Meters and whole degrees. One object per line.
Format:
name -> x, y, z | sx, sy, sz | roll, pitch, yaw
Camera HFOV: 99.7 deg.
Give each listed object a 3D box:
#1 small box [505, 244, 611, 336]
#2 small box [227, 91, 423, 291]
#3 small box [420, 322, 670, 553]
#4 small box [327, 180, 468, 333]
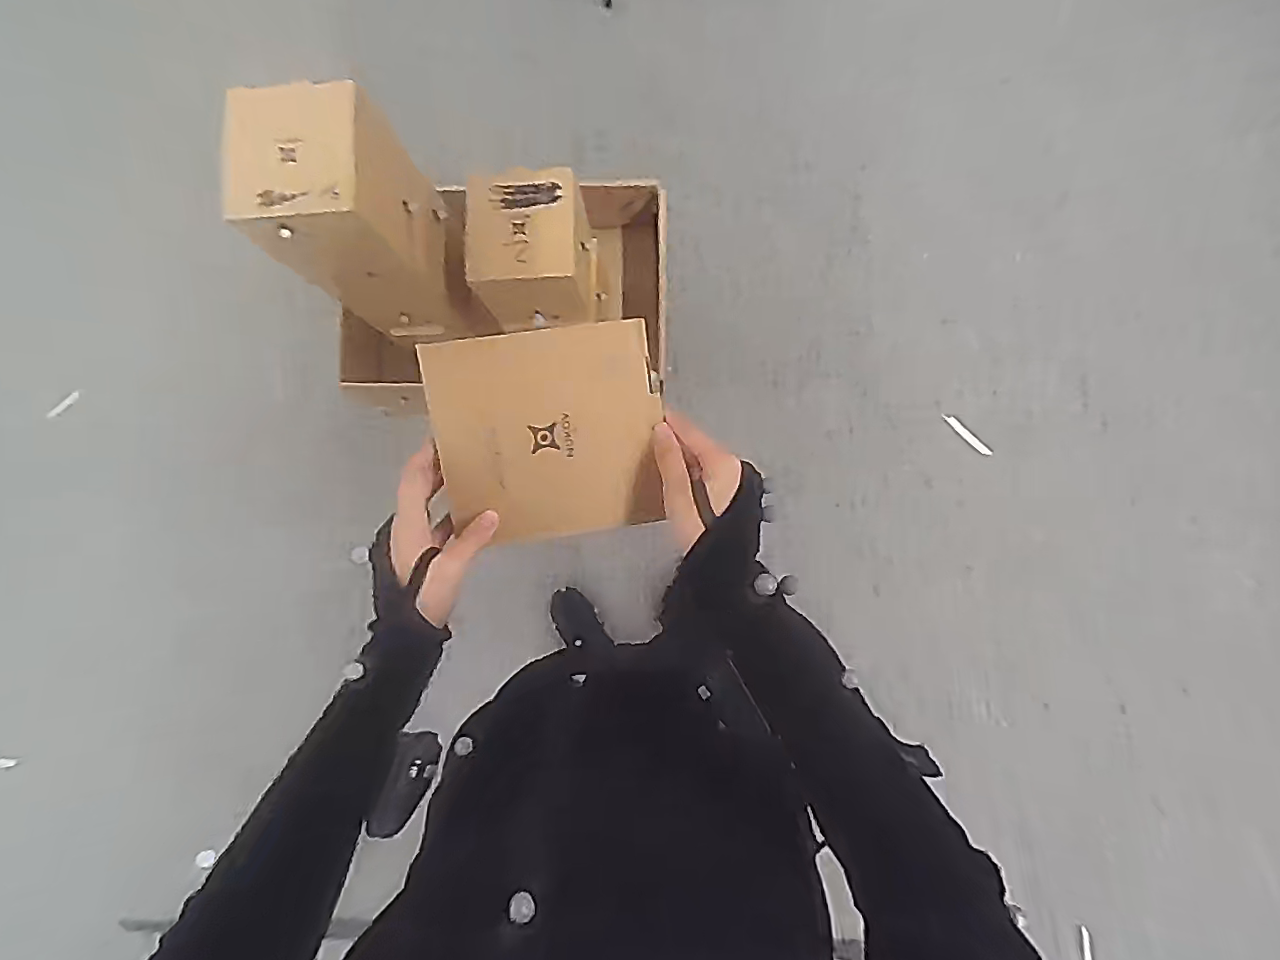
small box -> -0.151, -0.333, 1.051 | 0.168, 0.176, 0.179 | 2, 84, 5
small box -> -0.414, -0.383, 0.740 | 0.168, 0.176, 0.179 | -2, 82, 3
small box -> -0.080, -0.046, 0.503 | 0.179, 0.176, 0.168 | -9, 99, -5
small box -> -0.397, -0.363, 0.902 | 0.168, 0.176, 0.179 | -2, 84, 3
